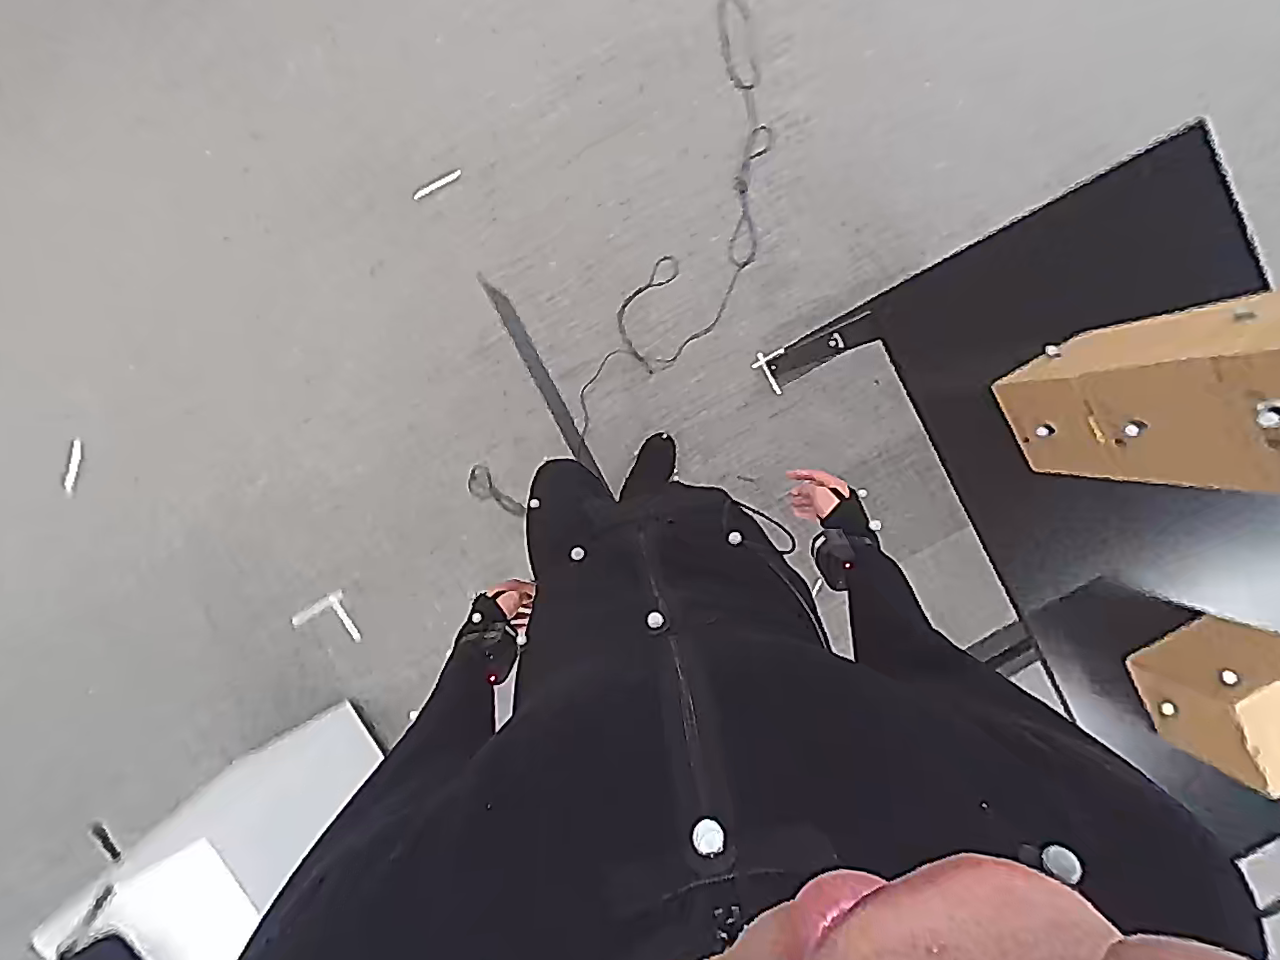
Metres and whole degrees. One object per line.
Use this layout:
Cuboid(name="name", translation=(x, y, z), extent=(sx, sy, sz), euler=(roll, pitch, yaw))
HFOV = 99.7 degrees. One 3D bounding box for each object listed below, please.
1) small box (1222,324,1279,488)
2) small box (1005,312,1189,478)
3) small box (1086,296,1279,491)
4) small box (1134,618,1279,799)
Cuboid(name="small box", translation=(0.706, -0.092, 0.480), extent=(0.179, 0.176, 0.168), euler=(-30, 94, 1))
Cuboid(name="small box", translation=(0.692, -0.118, 0.807), extent=(0.179, 0.176, 0.168), euler=(-31, 95, 1))
Cuboid(name="small box", translation=(0.700, -0.106, 0.642), extent=(0.179, 0.176, 0.168), euler=(-30, 95, 1))
Cuboid(name="small box", translation=(0.958, 0.345, 0.855), extent=(0.179, 0.176, 0.168), euler=(-29, 95, 1))
